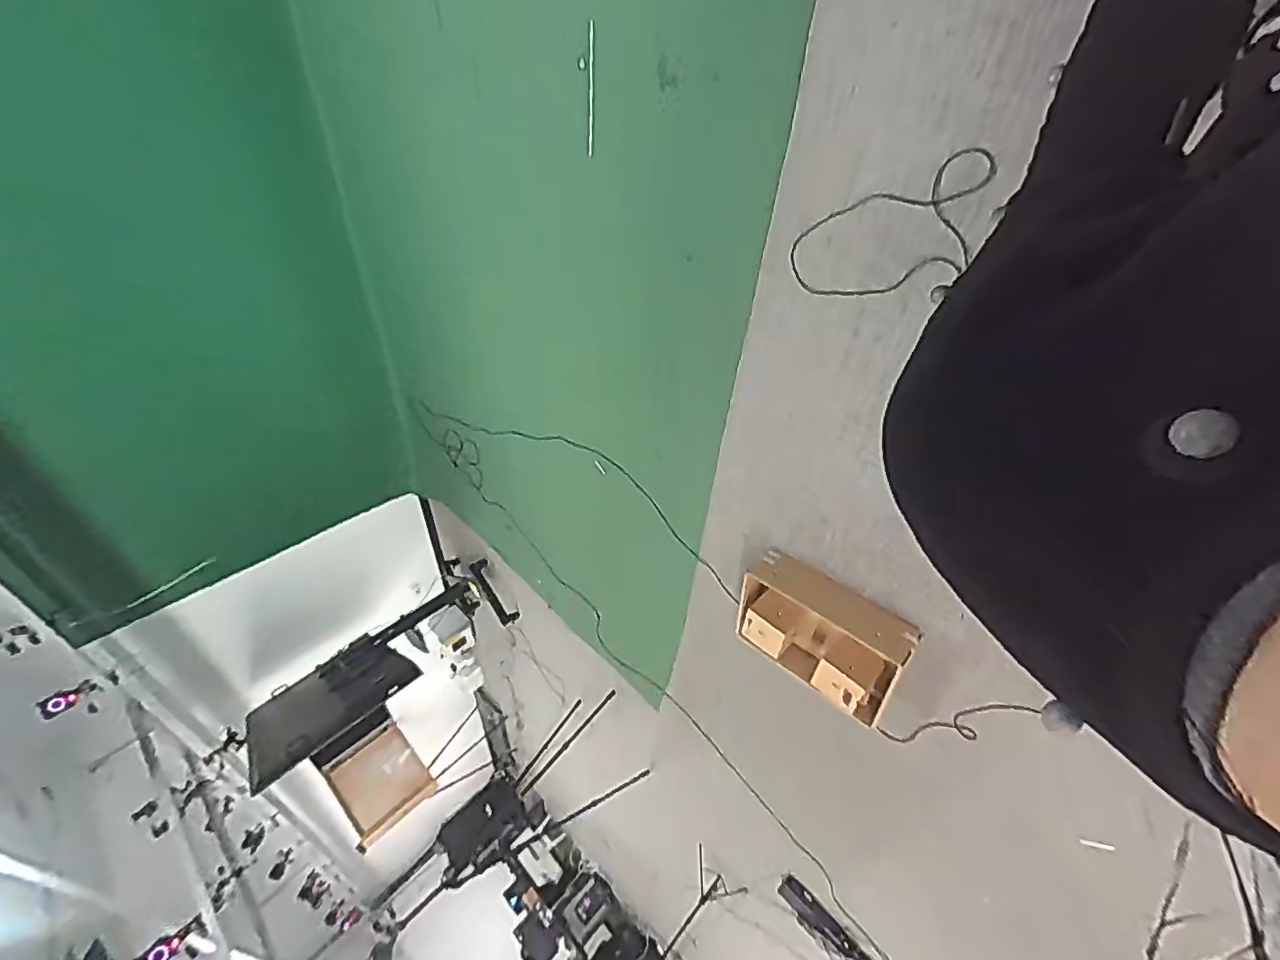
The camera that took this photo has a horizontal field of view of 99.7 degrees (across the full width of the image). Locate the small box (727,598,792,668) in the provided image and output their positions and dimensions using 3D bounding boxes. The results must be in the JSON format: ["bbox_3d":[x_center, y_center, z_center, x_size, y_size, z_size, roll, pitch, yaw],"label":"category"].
[{"bbox_3d":[0.480,0.605,2.158,0.179,0.176,0.168,33,135,30],"label":"small box"}]
